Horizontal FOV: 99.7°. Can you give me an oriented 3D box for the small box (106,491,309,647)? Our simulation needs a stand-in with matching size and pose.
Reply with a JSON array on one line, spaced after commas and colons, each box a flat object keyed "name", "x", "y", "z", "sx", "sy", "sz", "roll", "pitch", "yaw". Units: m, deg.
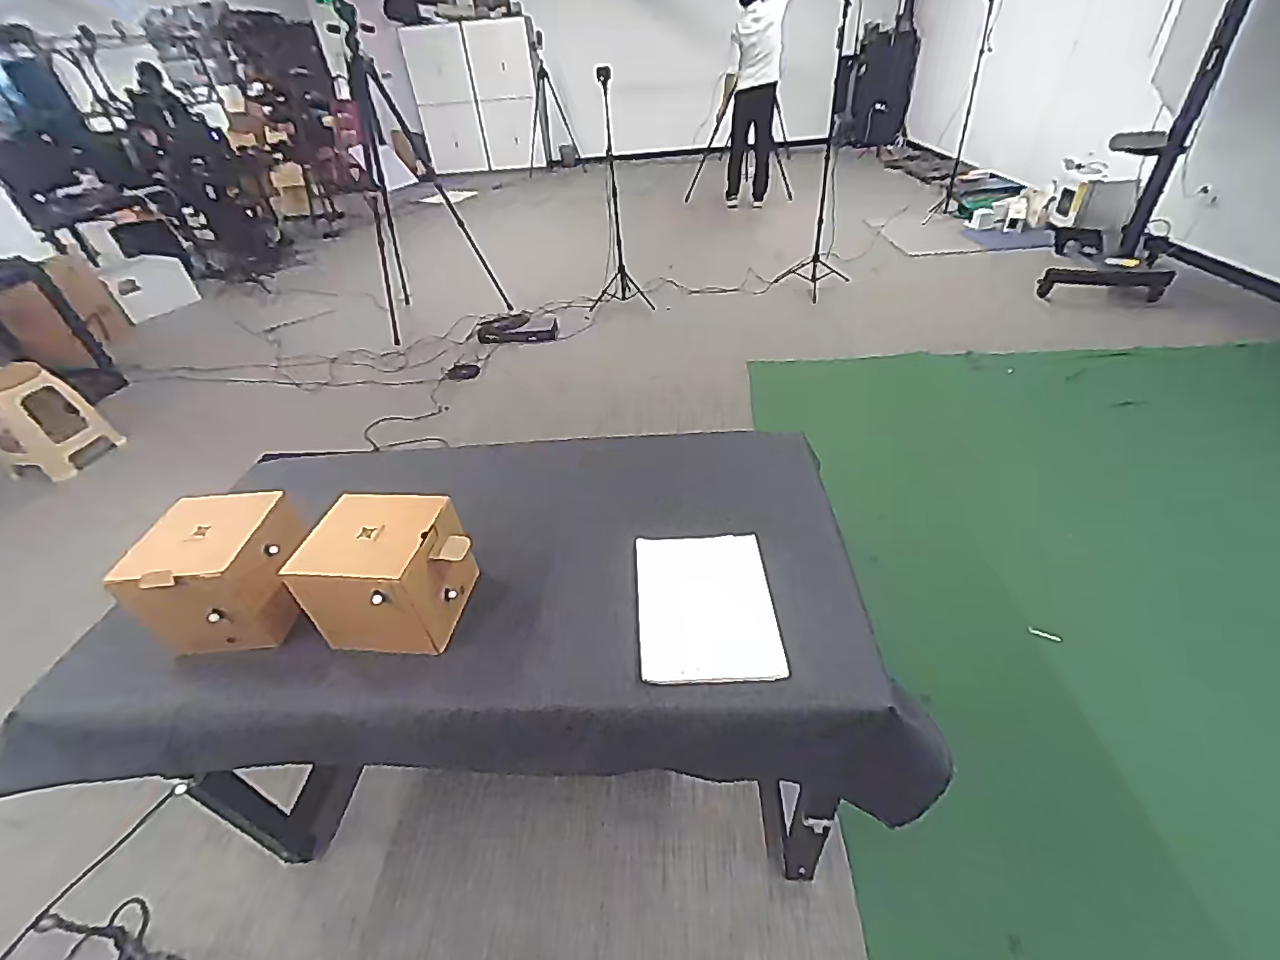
[{"name": "small box", "x": -0.626, "y": 0.141, "z": 0.829, "sx": 0.168, "sy": 0.176, "sz": 0.179, "roll": -4, "pitch": 37, "yaw": 0}]

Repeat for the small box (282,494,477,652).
[{"name": "small box", "x": -0.368, "y": 0.137, "z": 0.803, "sx": 0.179, "sy": 0.176, "sz": 0.168, "roll": 1, "pitch": 38, "yaw": 7}]
